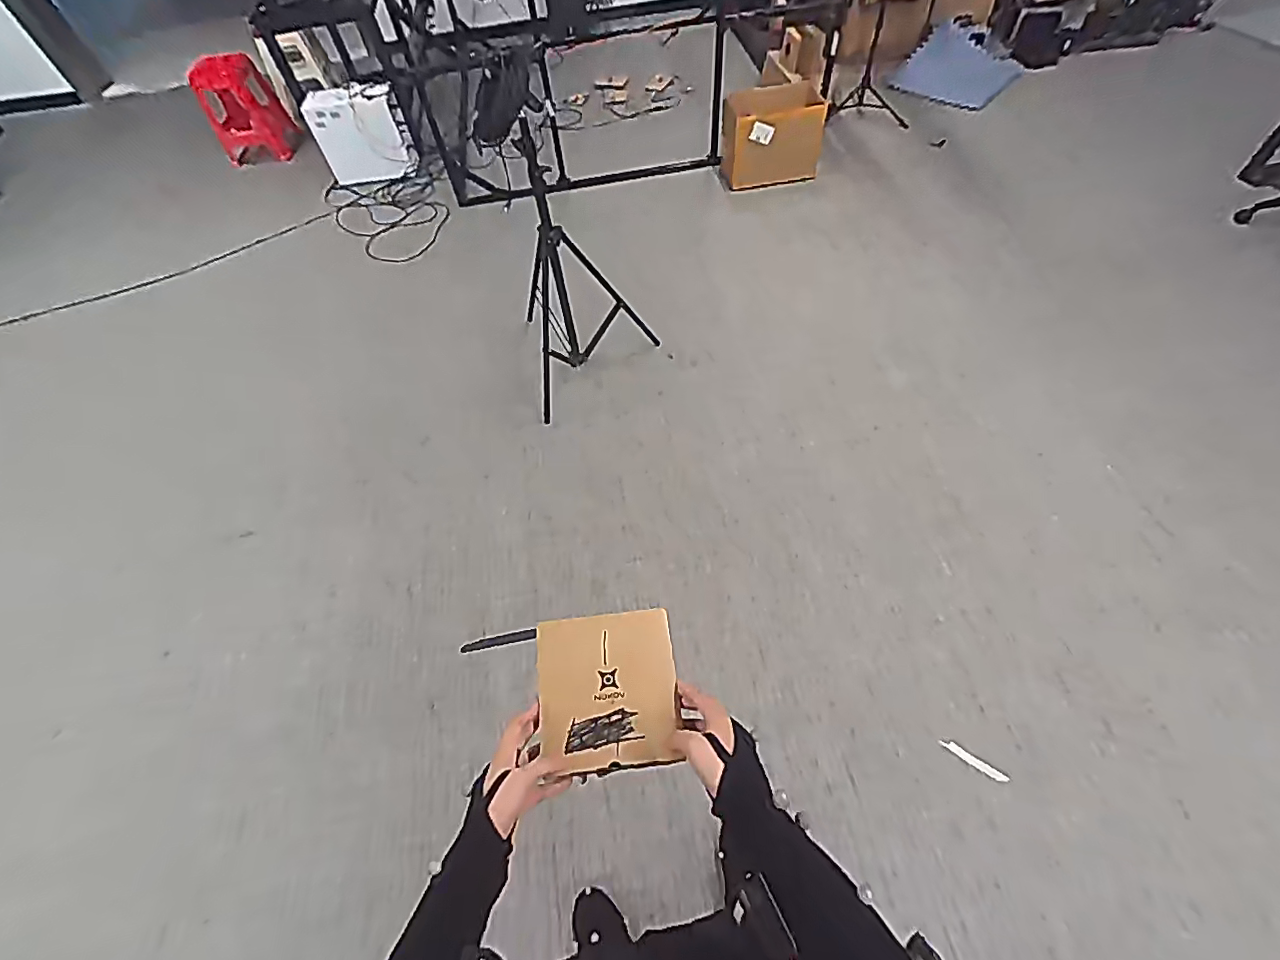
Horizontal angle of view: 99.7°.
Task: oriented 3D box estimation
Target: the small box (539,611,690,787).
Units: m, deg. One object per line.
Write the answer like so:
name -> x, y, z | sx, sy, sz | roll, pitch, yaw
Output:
small box -> -0.033, 0.282, 0.696 | 0.168, 0.176, 0.179 | -6, 63, -4
